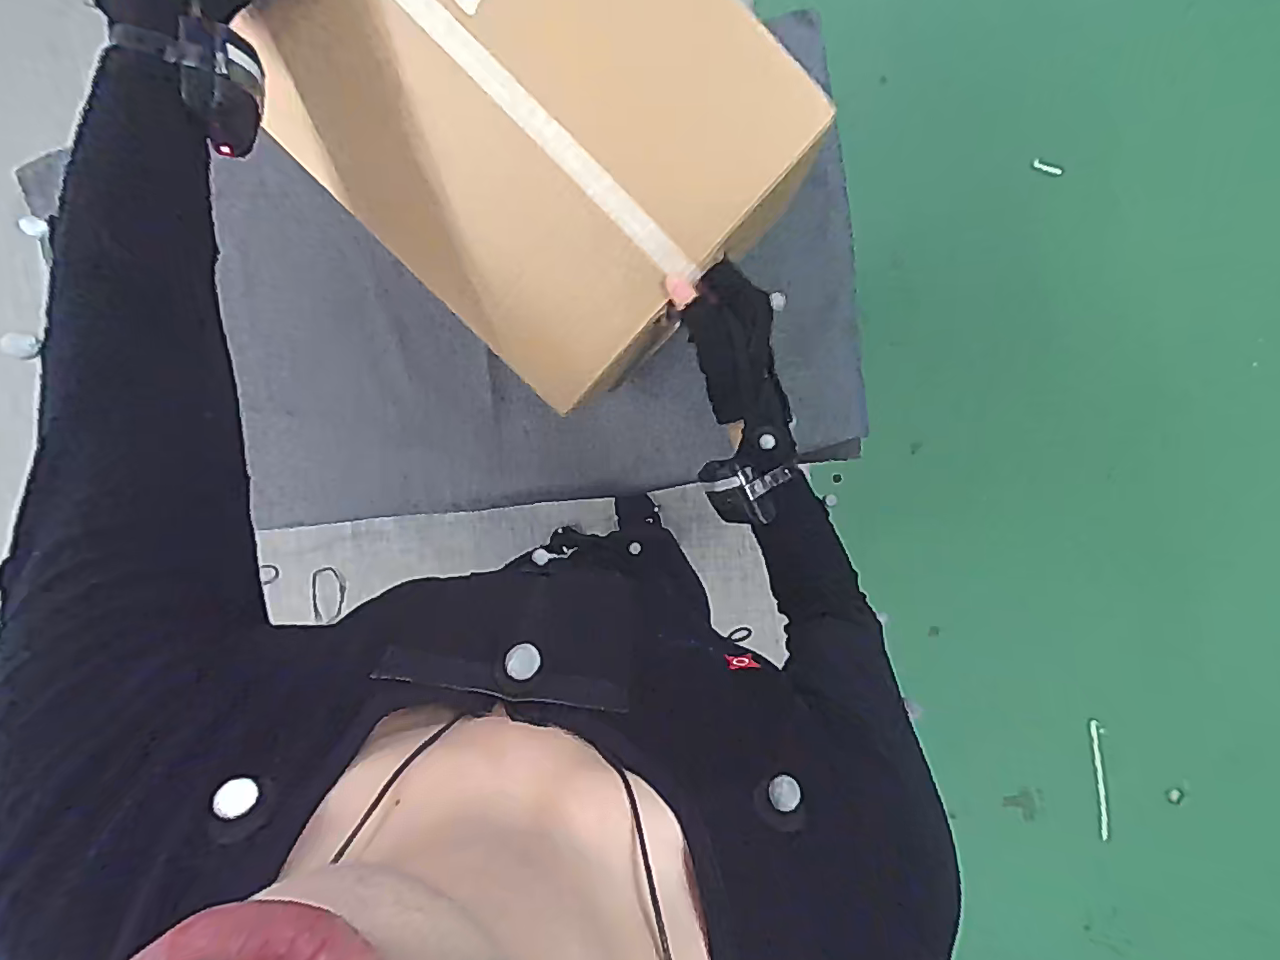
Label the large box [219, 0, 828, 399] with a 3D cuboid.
[{"bbox_3d":[-0.083,-0.341,0.558,0.408,0.320,0.320,43,106,-4],"label":"large box"}]
